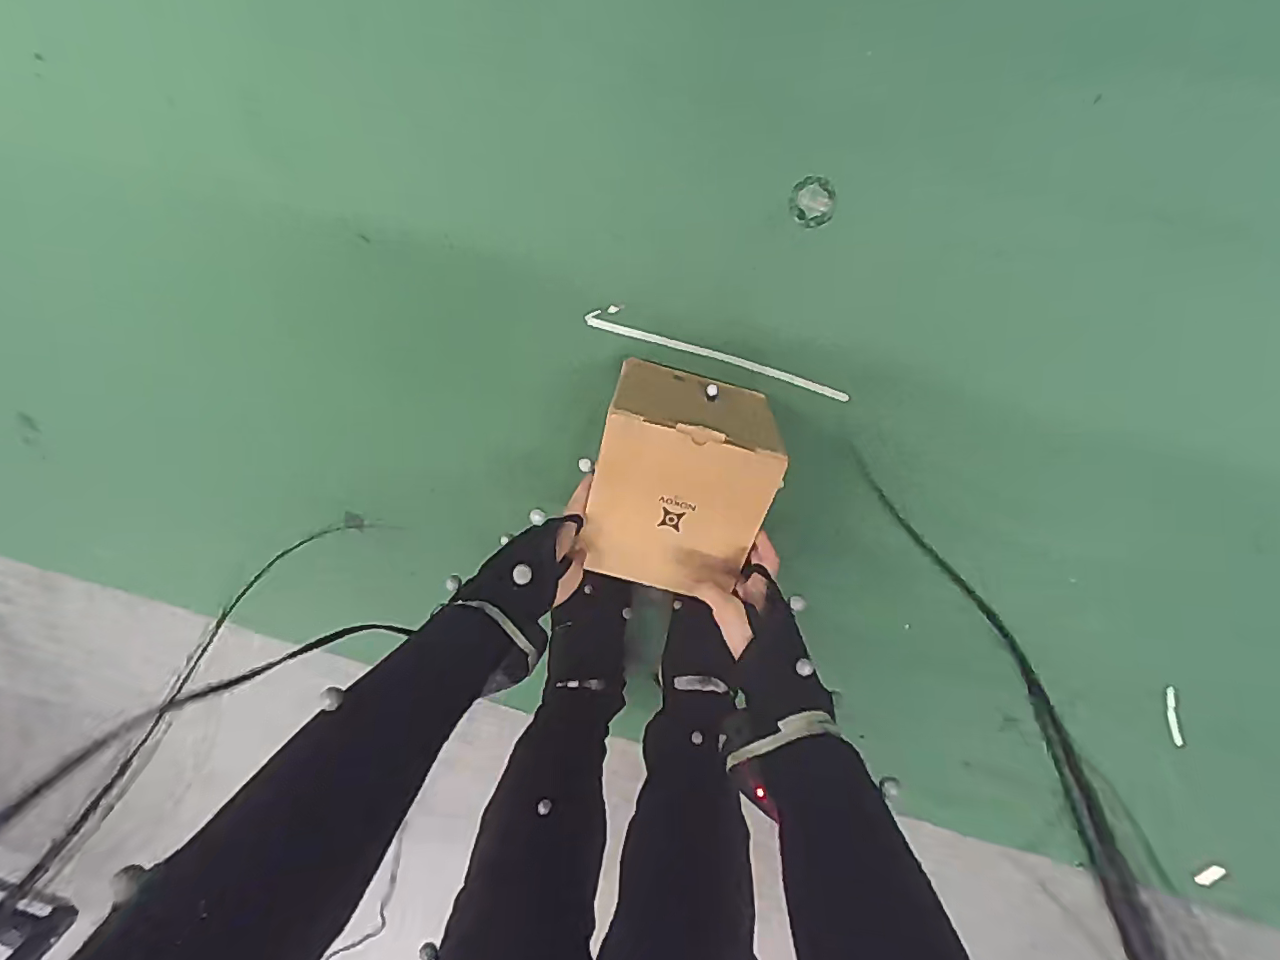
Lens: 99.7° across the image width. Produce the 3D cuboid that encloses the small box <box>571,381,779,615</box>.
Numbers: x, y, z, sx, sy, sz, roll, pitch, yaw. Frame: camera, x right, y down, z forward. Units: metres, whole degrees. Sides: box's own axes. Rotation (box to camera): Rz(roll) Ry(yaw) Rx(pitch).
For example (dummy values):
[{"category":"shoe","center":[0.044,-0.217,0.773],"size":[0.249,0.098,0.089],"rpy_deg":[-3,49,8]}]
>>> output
[{"category":"small box","center":[0.034,0.012,0.592],"size":[0.168,0.176,0.179],"rpy_deg":[15,115,-3]}]
